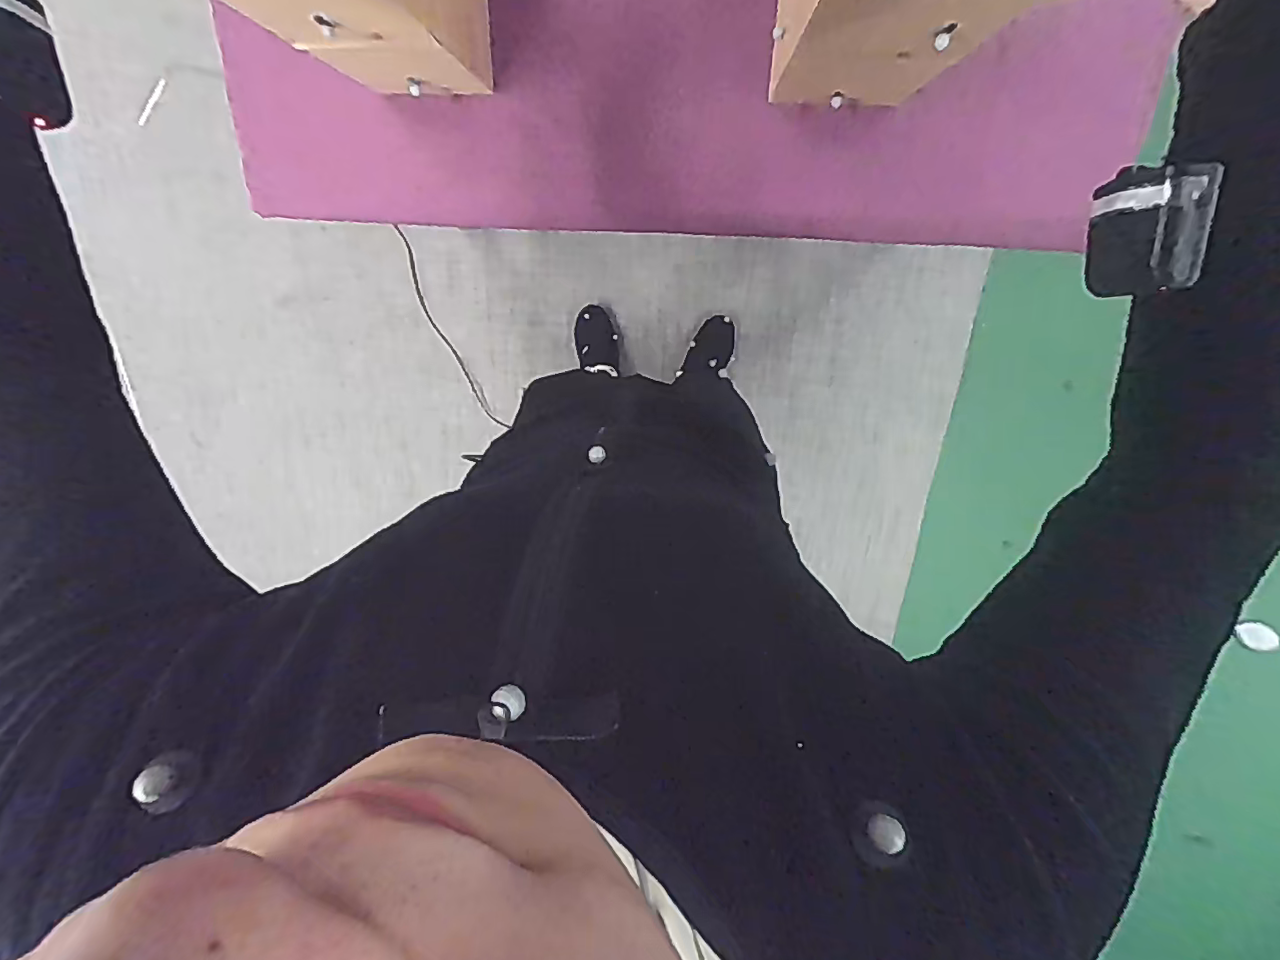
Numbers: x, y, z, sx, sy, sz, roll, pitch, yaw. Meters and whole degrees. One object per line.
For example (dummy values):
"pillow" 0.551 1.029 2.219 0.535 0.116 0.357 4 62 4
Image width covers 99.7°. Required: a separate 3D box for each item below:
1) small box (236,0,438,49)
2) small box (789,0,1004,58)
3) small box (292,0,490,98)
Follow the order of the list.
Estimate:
"small box" -0.297 -0.518 0.475 0.168 0.176 0.179 2 111 4
"small box" 0.224 -0.474 0.441 0.168 0.176 0.179 3 111 4
"small box" -0.285 -0.574 0.627 0.168 0.176 0.179 3 111 4
